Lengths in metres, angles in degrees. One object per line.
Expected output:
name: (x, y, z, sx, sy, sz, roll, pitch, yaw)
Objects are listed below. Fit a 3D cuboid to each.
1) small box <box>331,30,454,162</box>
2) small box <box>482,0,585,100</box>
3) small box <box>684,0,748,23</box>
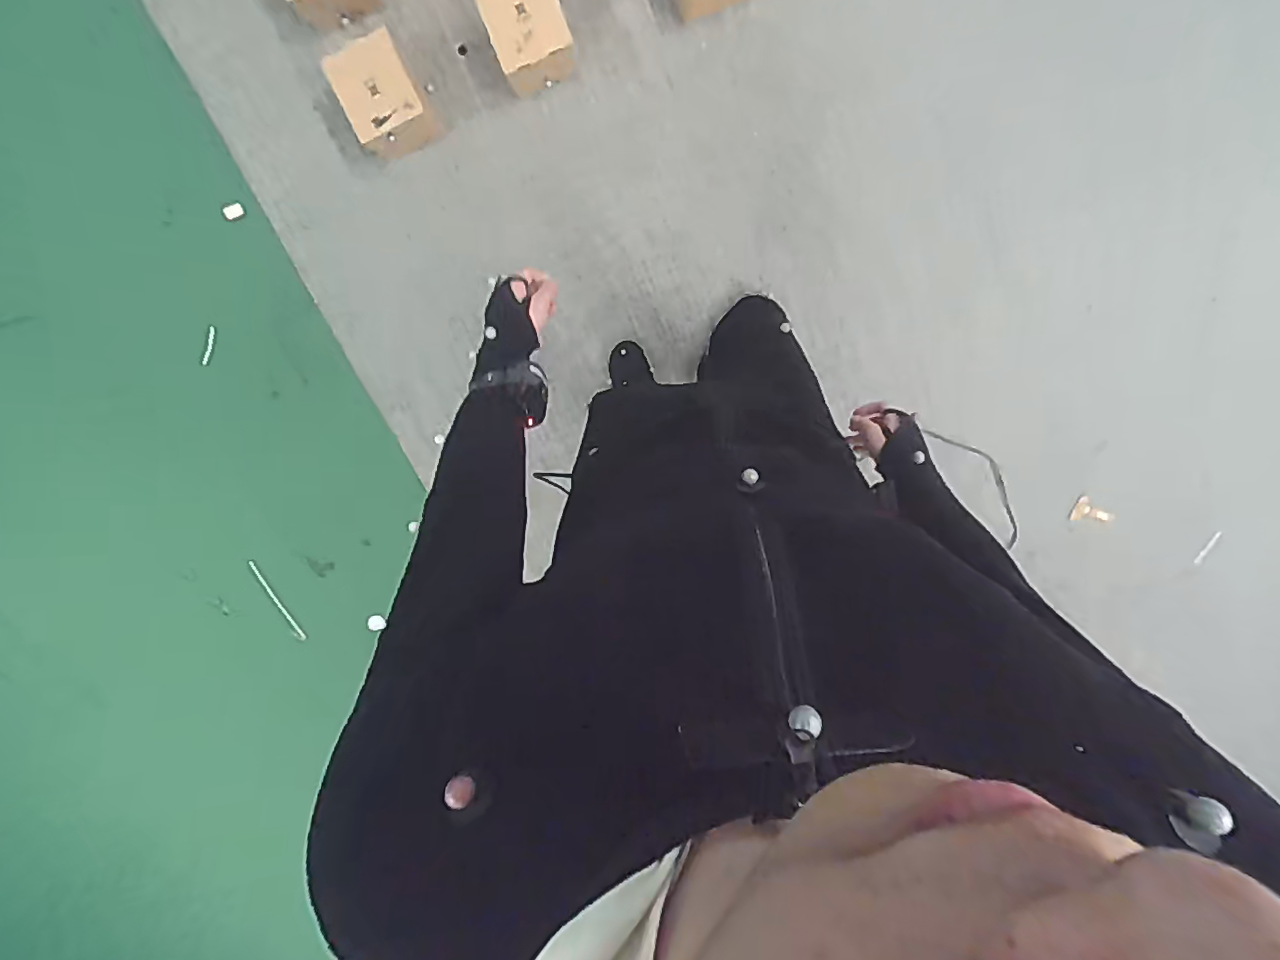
small box: (-0.571, -0.891, 1.273, 0.168, 0.176, 0.179, -21, 106, 8)
small box: (-0.238, -1.013, 1.228, 0.168, 0.176, 0.179, -20, 107, 8)
small box: (0.170, -1.154, 1.177, 0.179, 0.176, 0.168, -20, 107, 6)
